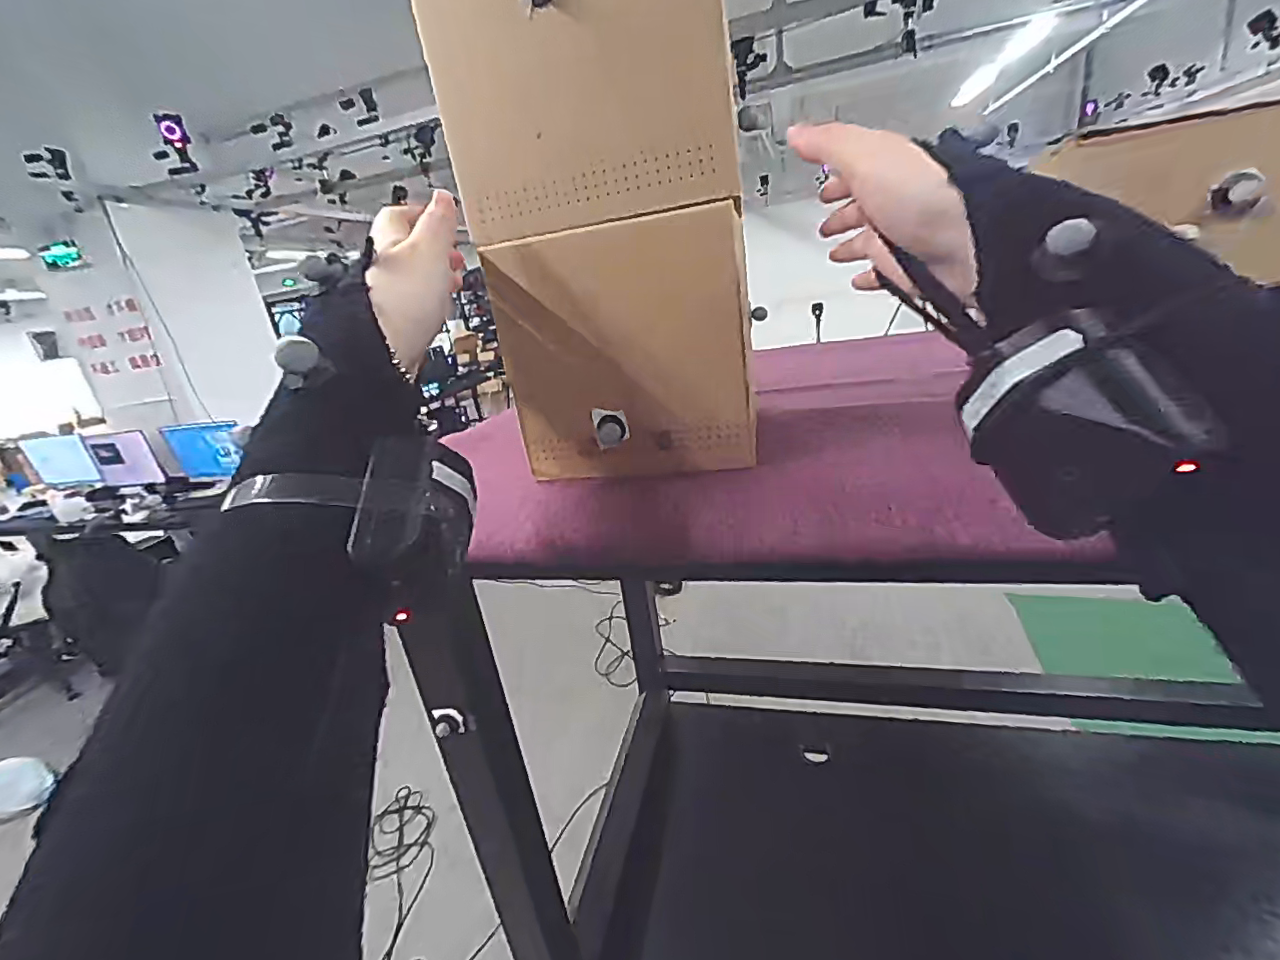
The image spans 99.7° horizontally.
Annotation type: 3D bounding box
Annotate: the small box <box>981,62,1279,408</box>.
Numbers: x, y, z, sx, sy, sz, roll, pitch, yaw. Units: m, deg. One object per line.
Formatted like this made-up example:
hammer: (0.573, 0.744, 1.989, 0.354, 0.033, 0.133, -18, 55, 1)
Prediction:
small box: (0.344, -0.147, 0.356, 0.179, 0.176, 0.168, -2, 20, 17)

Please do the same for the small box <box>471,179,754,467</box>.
small box: (-0.002, -0.116, 0.424, 0.168, 0.176, 0.179, -4, 20, 15)

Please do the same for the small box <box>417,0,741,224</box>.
small box: (-0.029, -0.269, 0.371, 0.179, 0.176, 0.168, -5, 21, 13)
